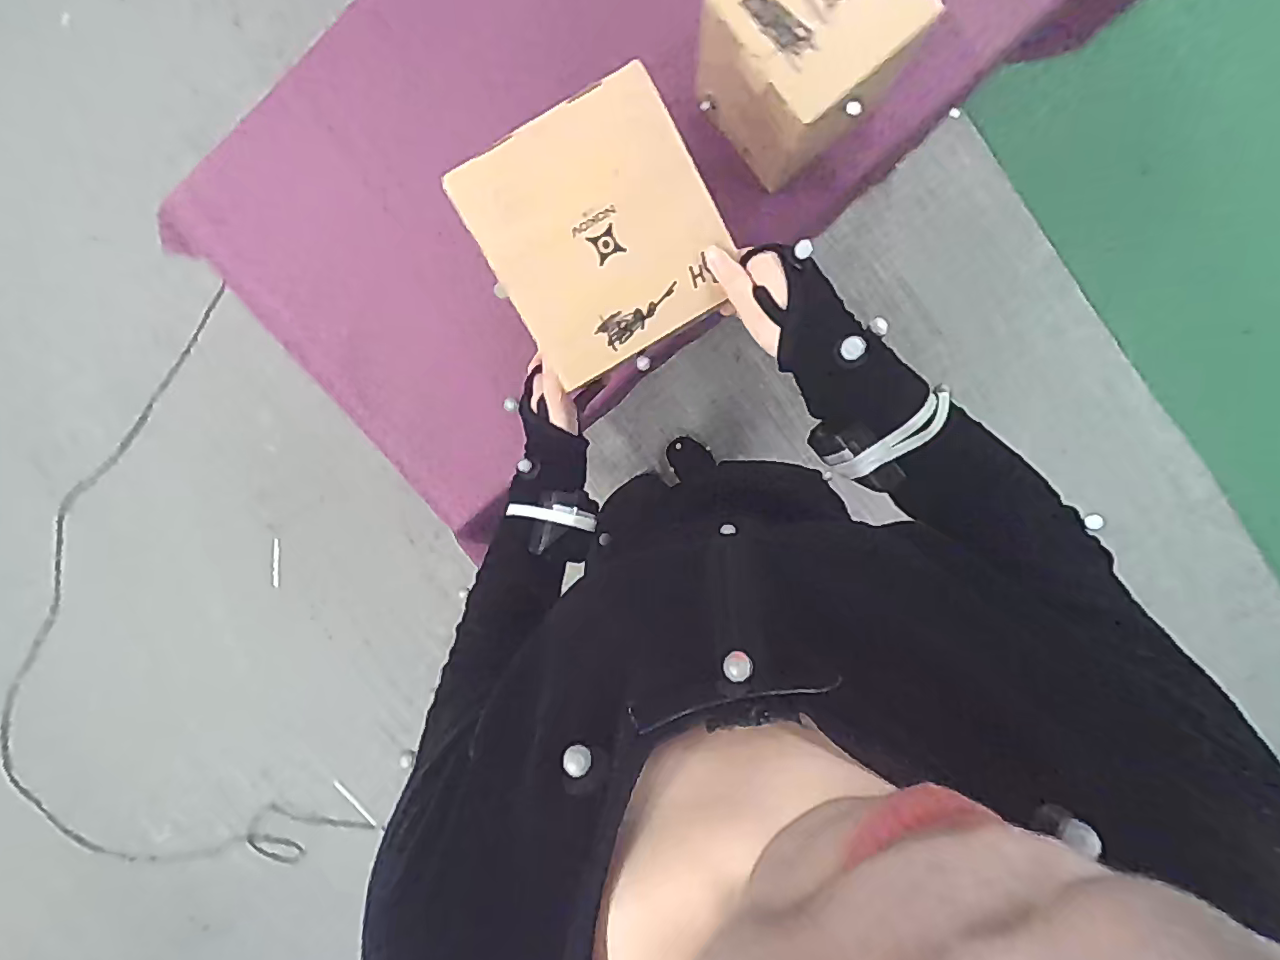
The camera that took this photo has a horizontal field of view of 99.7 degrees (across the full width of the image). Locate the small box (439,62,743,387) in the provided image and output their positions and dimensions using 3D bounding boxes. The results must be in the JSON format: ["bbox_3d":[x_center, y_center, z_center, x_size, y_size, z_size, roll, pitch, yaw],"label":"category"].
[{"bbox_3d":[-0.038,-0.195,0.473,0.168,0.176,0.179,-30,101,3],"label":"small box"}]
